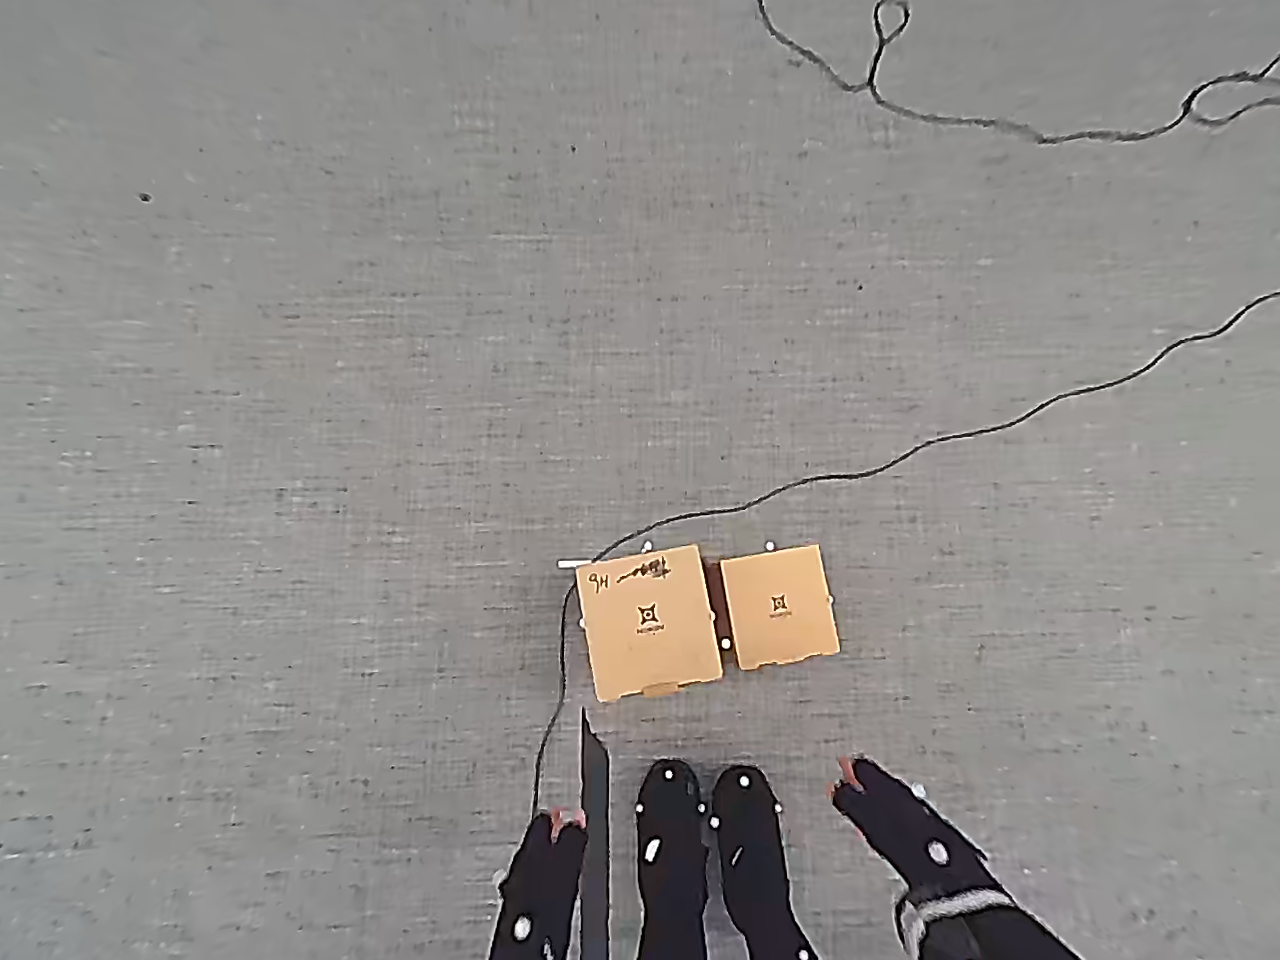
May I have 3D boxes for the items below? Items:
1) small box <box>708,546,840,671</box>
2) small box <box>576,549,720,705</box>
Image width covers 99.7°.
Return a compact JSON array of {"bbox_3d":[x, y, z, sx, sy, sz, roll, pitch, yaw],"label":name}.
[{"bbox_3d":[0.221,0.216,0.940,0.168,0.176,0.179,-9,83,-3],"label":"small box"},{"bbox_3d":[0.009,0.197,0.773,0.168,0.176,0.179,-10,83,-3],"label":"small box"}]
